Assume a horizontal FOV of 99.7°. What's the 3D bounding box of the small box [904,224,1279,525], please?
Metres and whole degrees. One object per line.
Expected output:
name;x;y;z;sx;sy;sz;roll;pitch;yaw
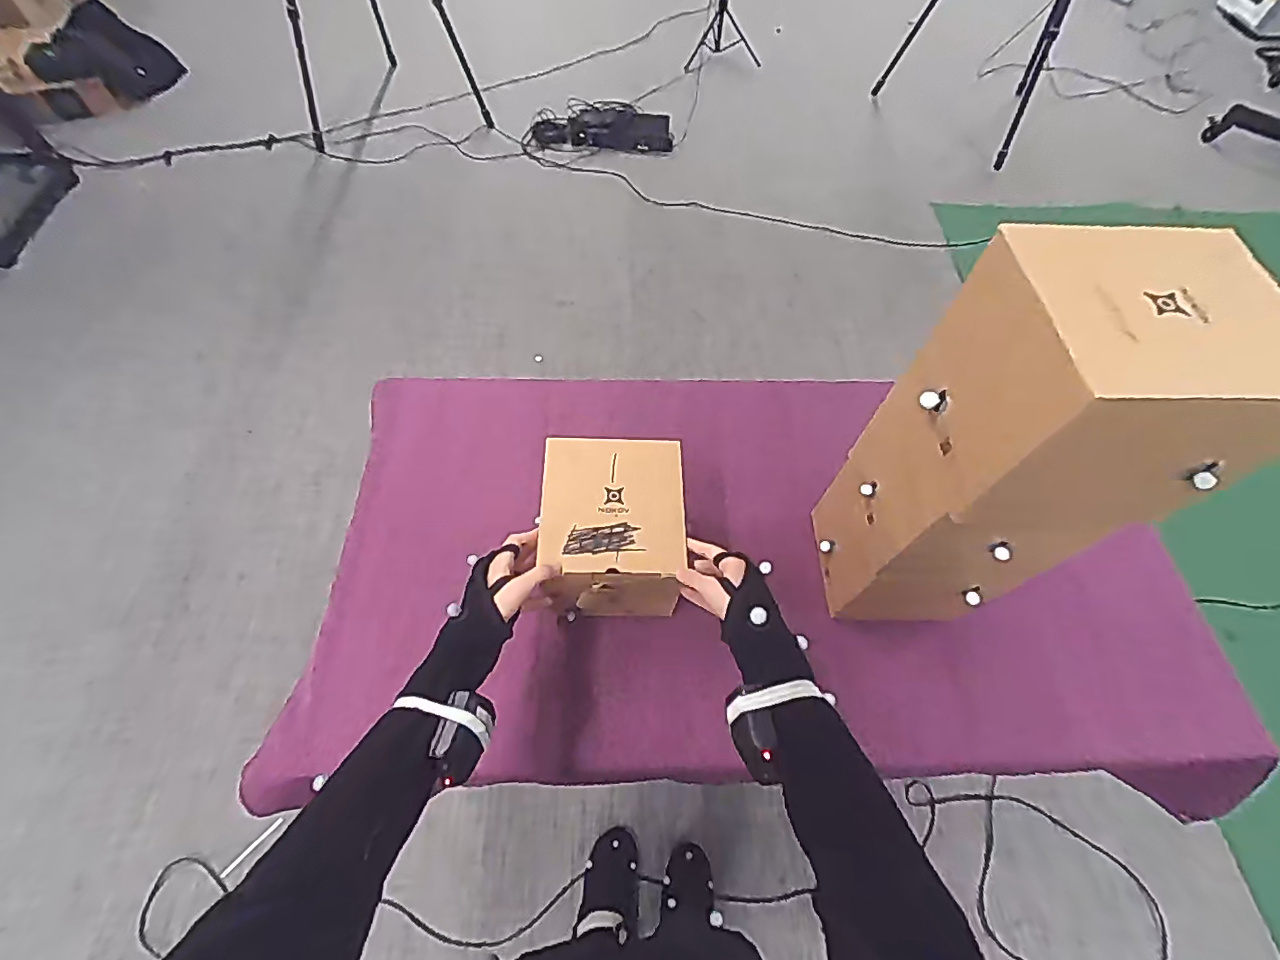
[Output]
small box;0.346;-0.073;0.428;0.179;0.176;0.168;1;59;-1

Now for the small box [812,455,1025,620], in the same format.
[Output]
small box;0.350;0.082;0.718;0.179;0.176;0.168;1;59;-1

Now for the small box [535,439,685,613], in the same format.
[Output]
small box;-0.036;0.067;0.692;0.168;0.176;0.179;1;60;-4
